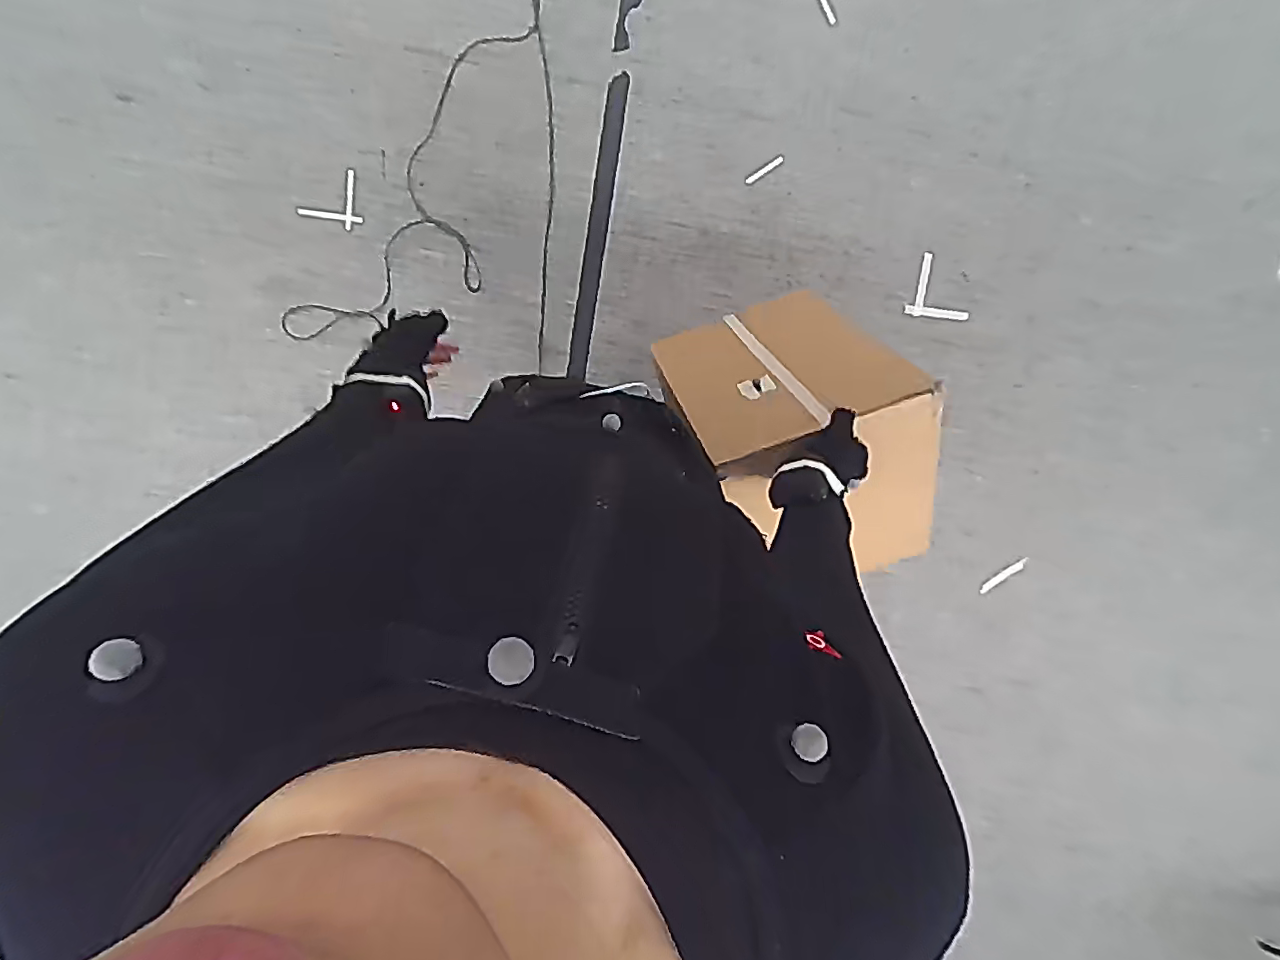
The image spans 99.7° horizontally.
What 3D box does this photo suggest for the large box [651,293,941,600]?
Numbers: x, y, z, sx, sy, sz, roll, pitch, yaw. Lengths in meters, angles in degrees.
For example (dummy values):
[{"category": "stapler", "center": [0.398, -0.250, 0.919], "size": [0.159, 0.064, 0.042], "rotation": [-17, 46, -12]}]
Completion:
[{"category": "large box", "center": [0.243, -0.073, 0.945], "size": [0.320, 0.408, 0.320], "rotation": [-21, 129, 1]}]
